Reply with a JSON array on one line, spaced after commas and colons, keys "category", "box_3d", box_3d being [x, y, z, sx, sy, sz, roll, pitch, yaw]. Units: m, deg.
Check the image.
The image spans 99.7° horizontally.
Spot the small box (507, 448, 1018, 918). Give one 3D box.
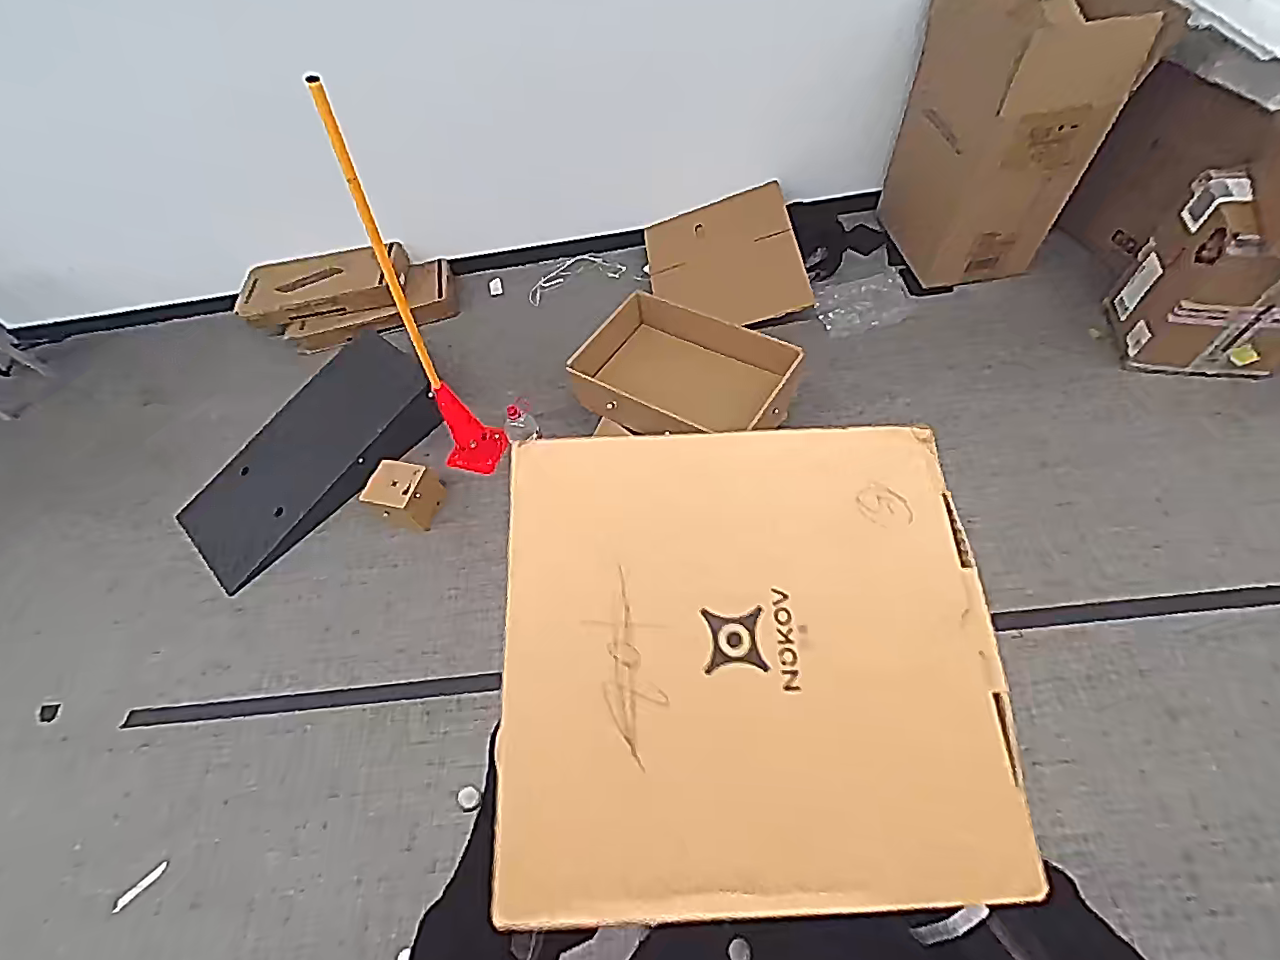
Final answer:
[{"category": "small box", "box_3d": [0.038, 0.093, 0.283, 0.179, 0.176, 0.168, -3, 68, -1]}]
